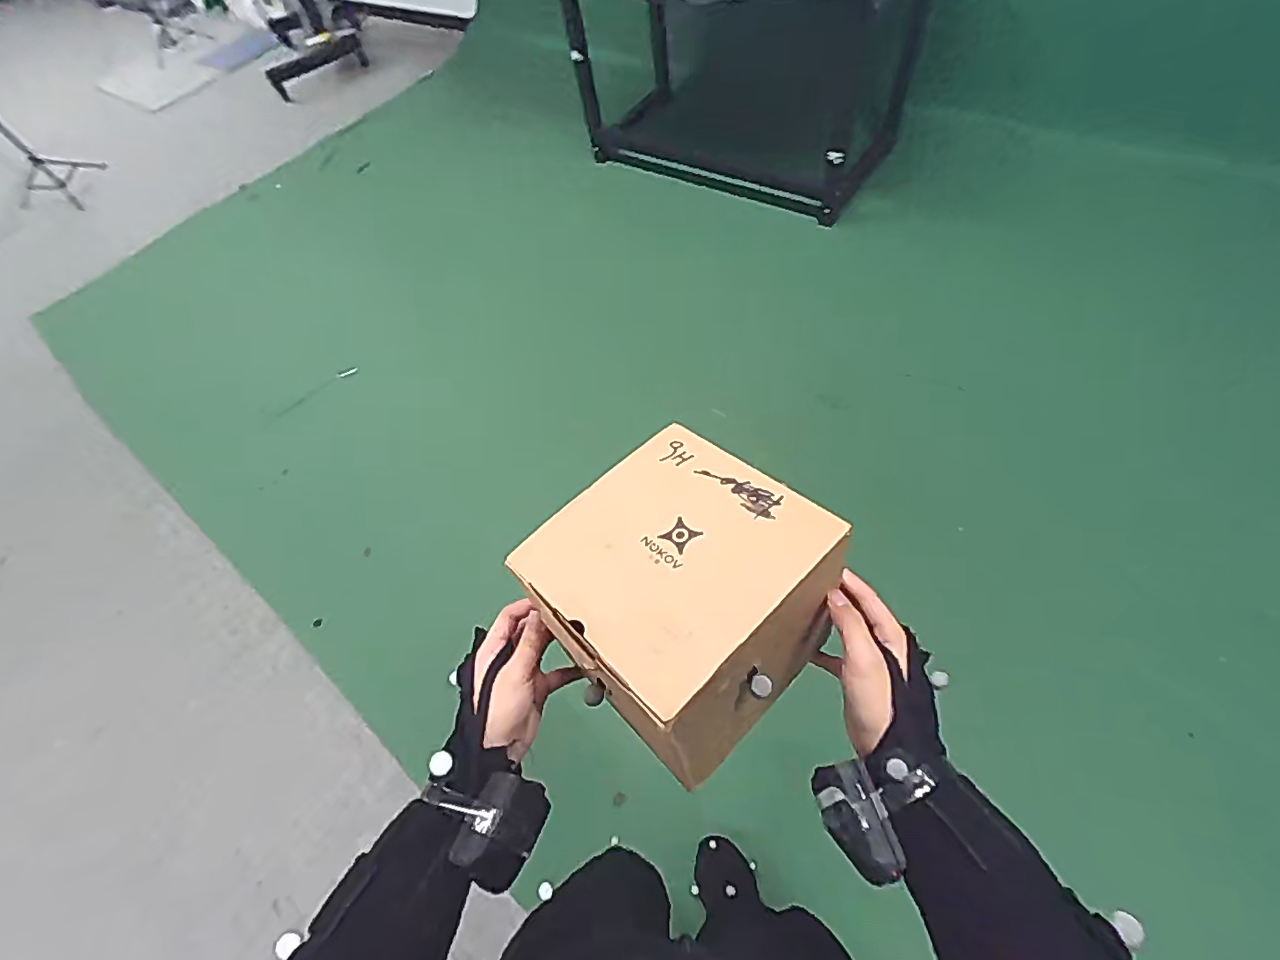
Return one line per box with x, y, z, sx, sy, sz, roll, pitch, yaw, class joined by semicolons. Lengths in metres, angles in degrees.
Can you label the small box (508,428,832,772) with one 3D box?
0.032;0.097;0.437;0.179;0.176;0.168;-40;53;-21;small box
